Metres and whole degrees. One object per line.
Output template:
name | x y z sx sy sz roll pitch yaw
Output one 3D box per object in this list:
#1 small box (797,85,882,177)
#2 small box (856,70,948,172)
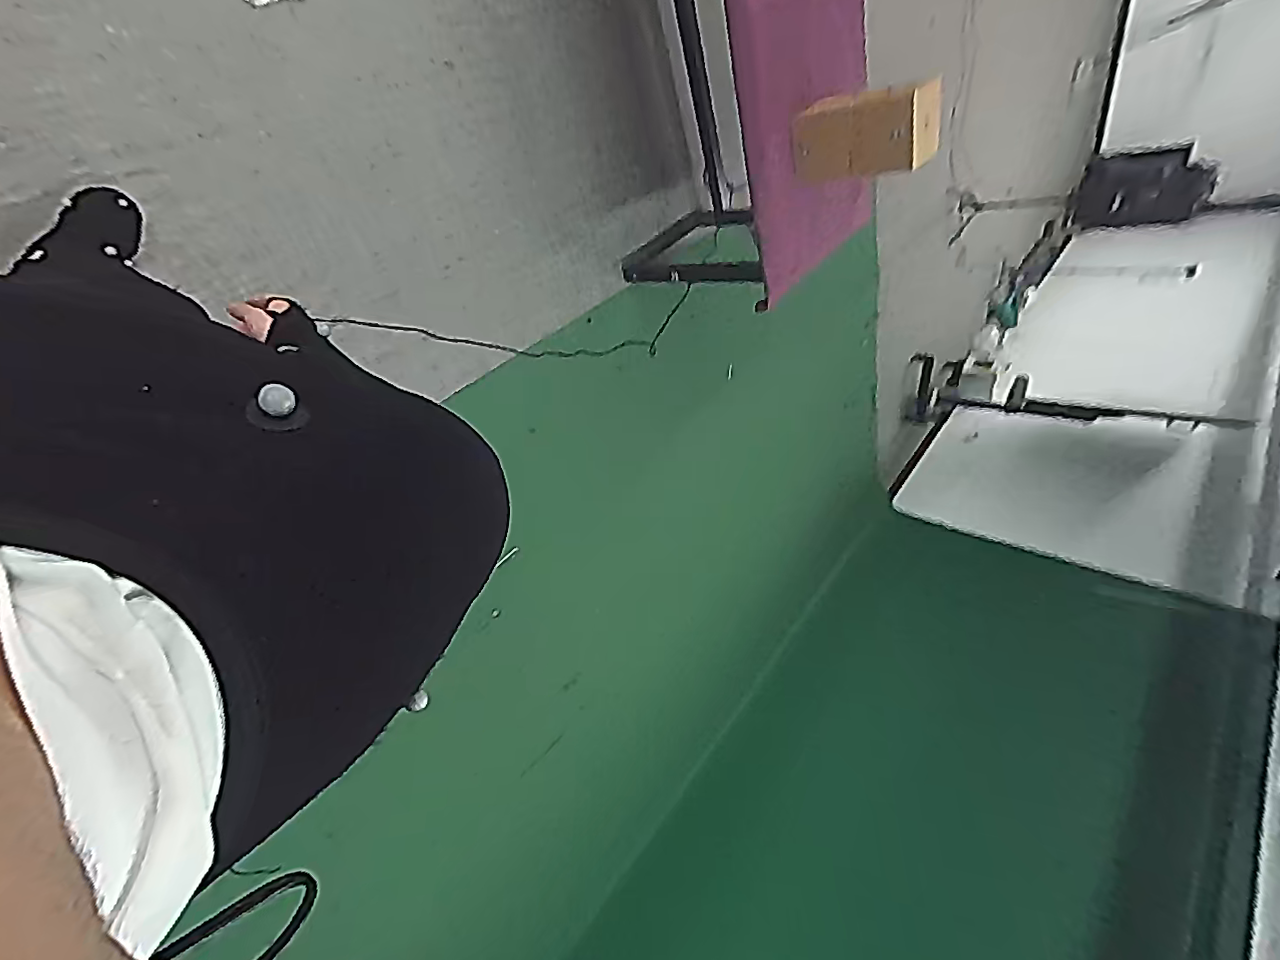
small box | 0.559 -0.968 1.512 0.168 0.176 0.179 -44 133 -27
small box | 0.675 -0.925 1.405 0.168 0.176 0.179 -42 131 -27
